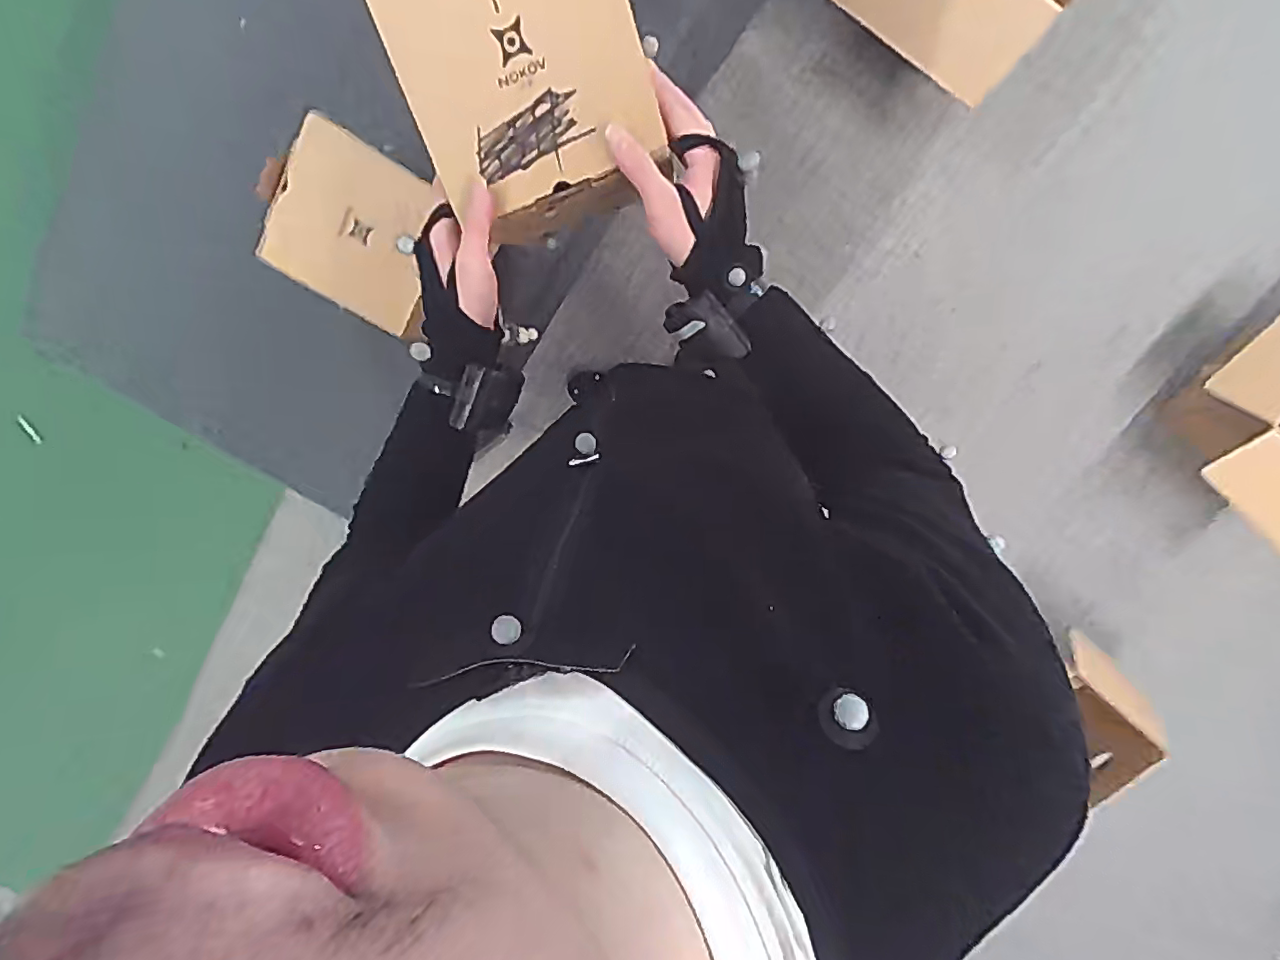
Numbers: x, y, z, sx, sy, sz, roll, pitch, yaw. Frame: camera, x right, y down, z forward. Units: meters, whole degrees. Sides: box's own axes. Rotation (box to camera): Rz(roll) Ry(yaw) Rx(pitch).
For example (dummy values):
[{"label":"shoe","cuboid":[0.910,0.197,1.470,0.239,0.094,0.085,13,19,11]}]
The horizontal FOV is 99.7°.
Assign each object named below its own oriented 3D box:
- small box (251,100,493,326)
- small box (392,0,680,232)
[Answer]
[{"label":"small box","cuboid":[-0.305,-0.297,0.652,0.179,0.176,0.168,29,103,-8]},{"label":"small box","cuboid":[-0.067,-0.322,0.451,0.168,0.176,0.179,-16,107,10]}]
